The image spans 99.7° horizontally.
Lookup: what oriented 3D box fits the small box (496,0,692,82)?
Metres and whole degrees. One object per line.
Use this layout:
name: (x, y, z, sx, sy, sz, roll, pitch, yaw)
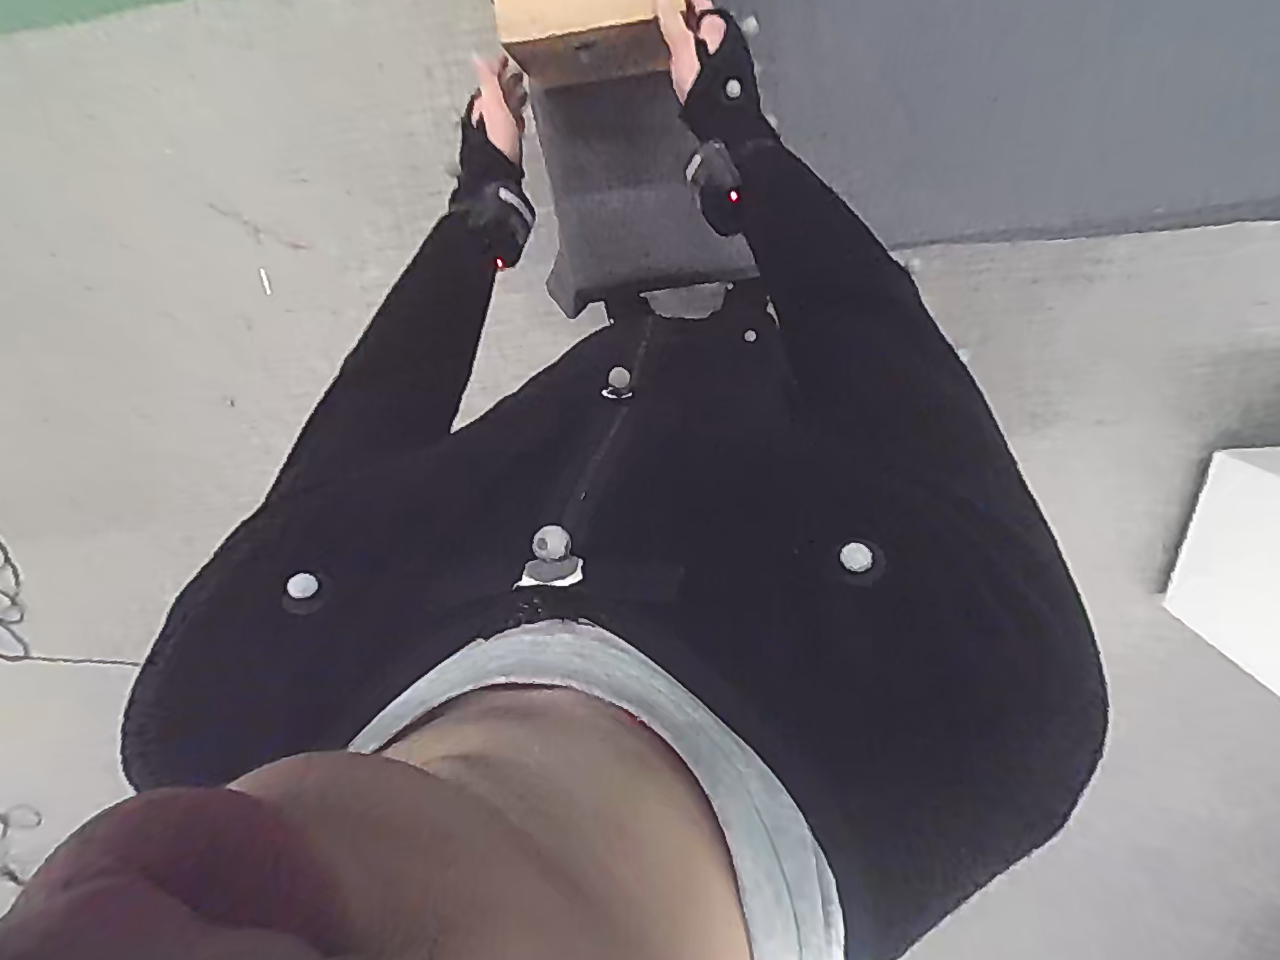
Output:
small box: (-0.044, -0.513, 0.525, 0.179, 0.176, 0.168, -5, 114, 4)
